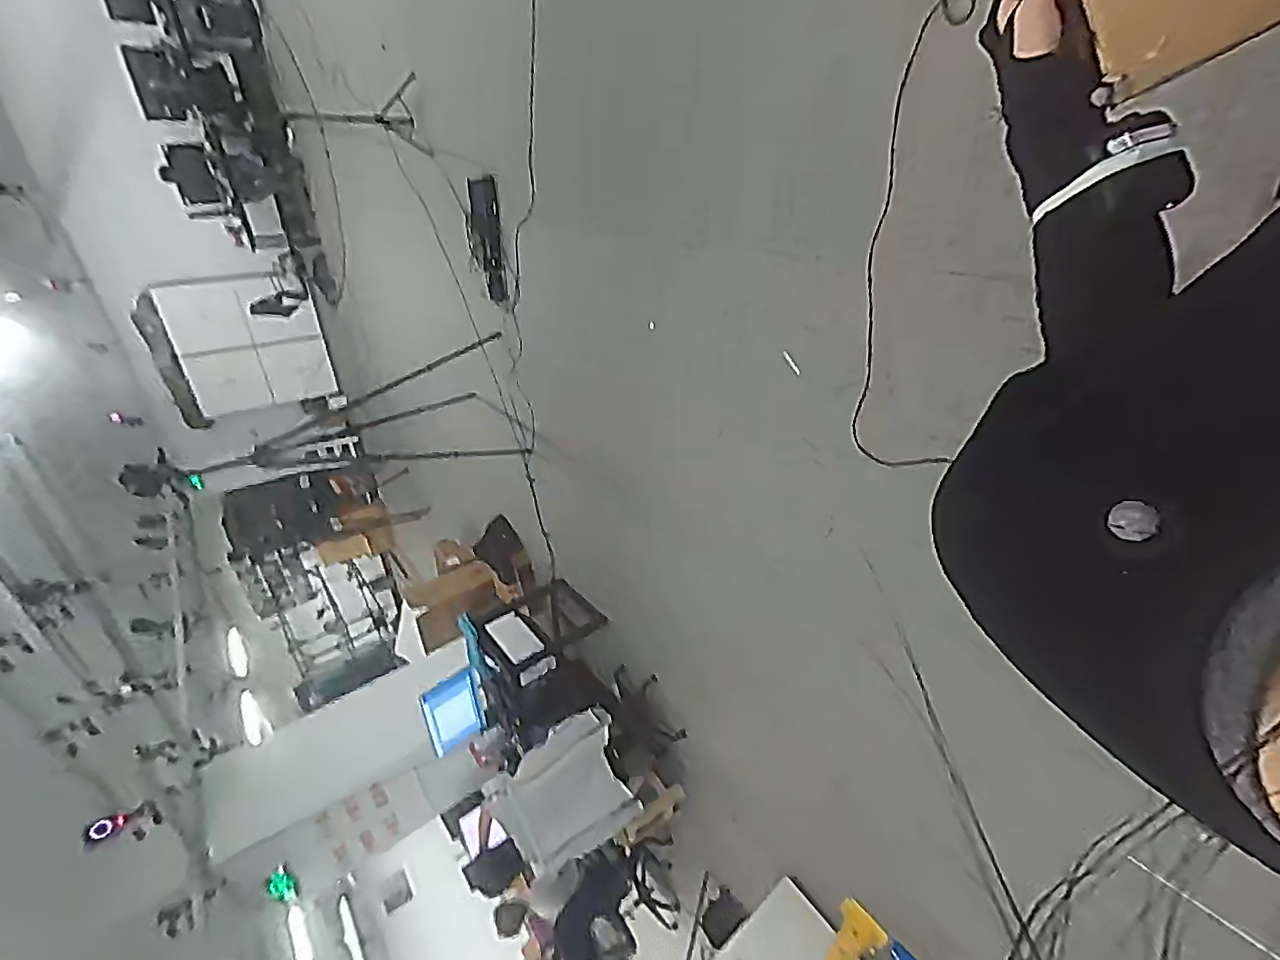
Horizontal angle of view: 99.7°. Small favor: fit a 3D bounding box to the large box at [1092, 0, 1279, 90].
[{"bbox_3d":[0.511,-0.523,0.312,0.408,0.320,0.320,-11,109,50],"label":"large box"}]
